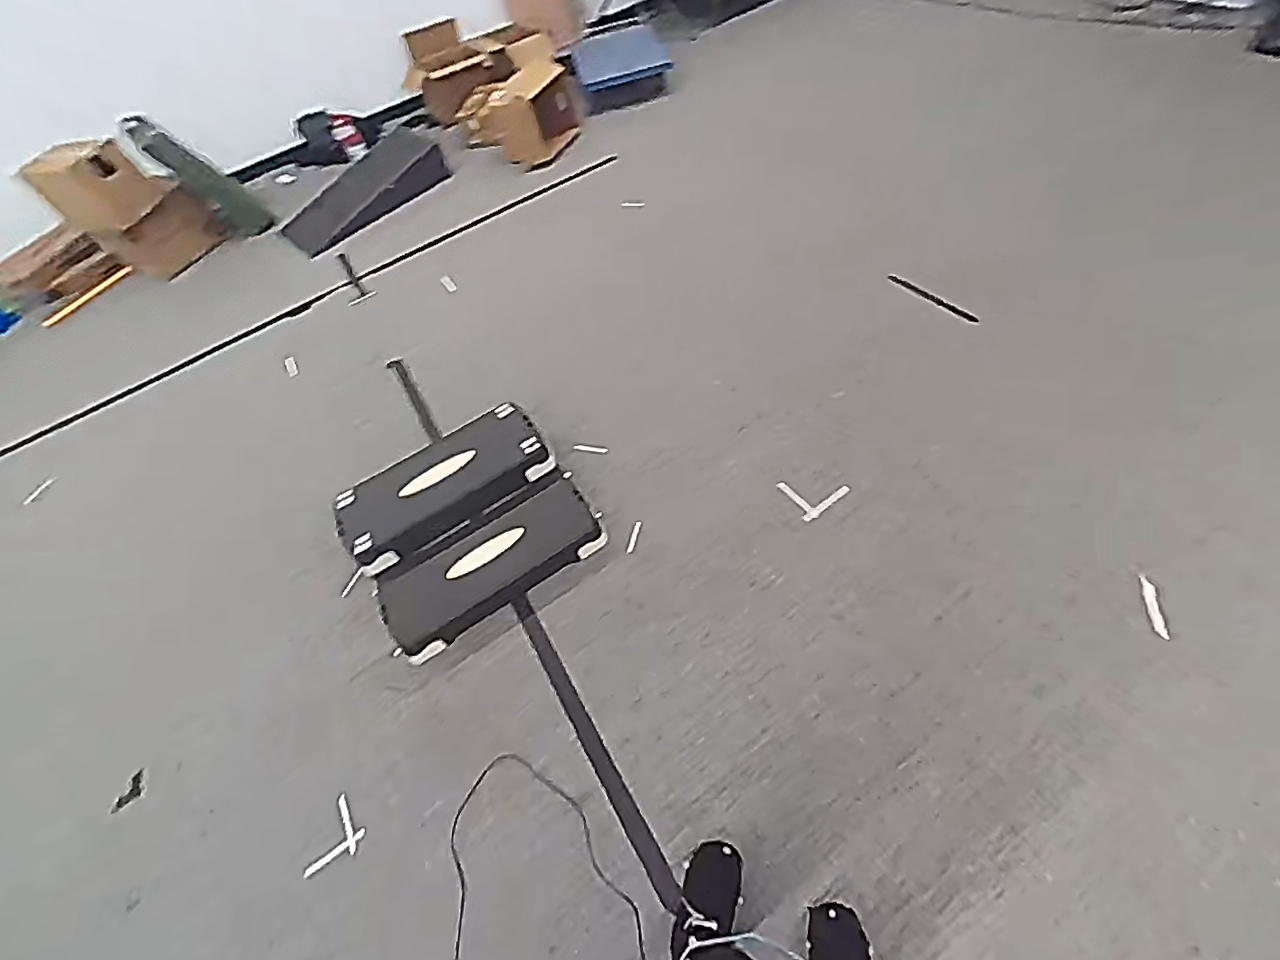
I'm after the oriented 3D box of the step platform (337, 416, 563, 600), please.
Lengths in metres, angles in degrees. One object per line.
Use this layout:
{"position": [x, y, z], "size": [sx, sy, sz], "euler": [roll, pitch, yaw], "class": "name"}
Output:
{"position": [-0.605, 0.077, 1.743], "size": [0.684, 0.204, 0.286], "euler": [-32, 56, -13], "class": "step platform"}
